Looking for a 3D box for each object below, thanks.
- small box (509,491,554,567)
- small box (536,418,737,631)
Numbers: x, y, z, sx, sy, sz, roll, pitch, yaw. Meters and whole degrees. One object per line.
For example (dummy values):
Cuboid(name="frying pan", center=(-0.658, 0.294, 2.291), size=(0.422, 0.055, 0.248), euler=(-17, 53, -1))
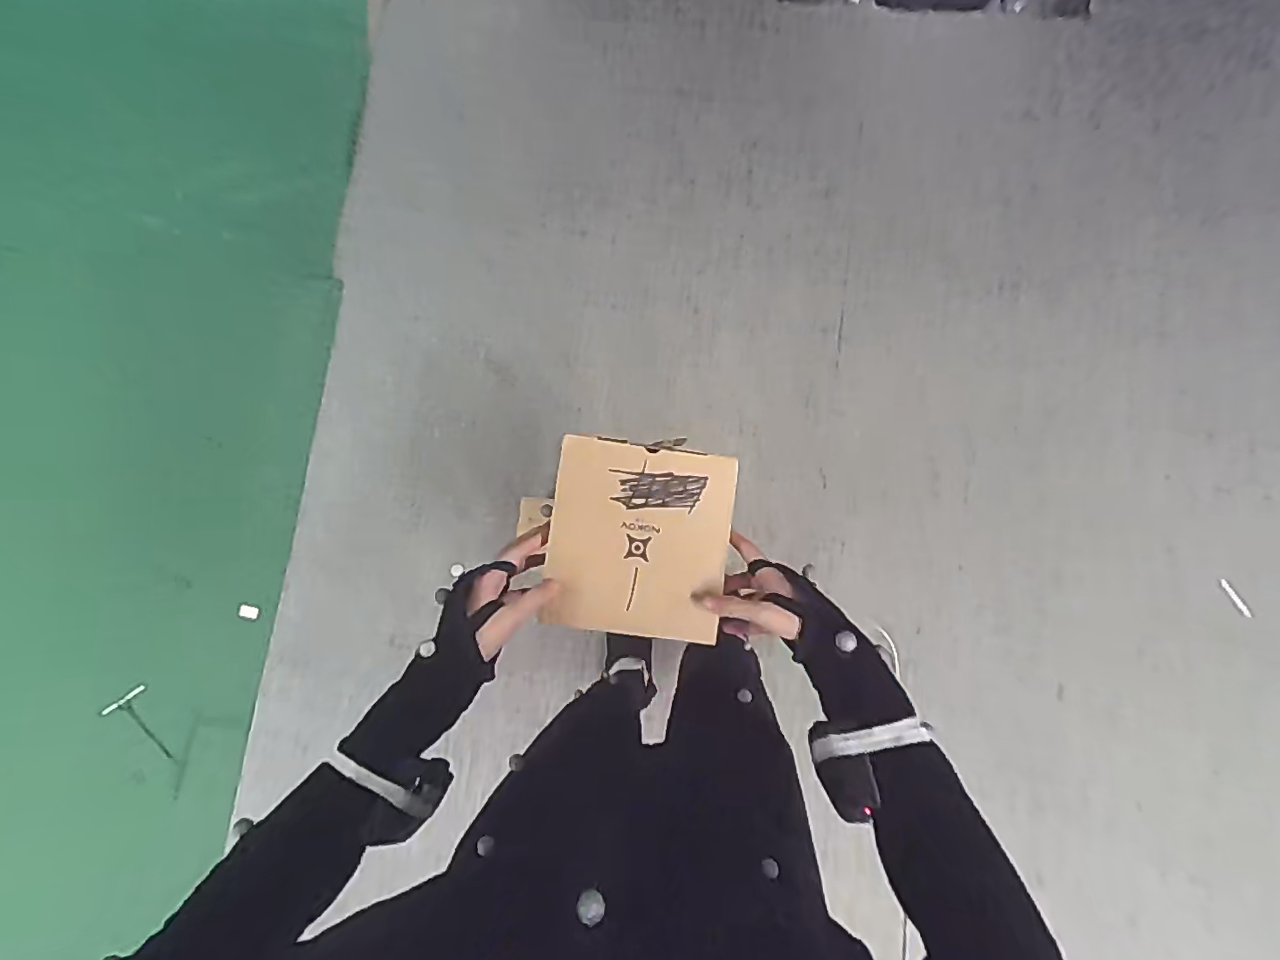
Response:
Cuboid(name="small box", center=(-0.190, 0.123, 1.281), size=(0.179, 0.176, 0.168), euler=(7, 84, 5))
Cuboid(name="small box", center=(-0.008, 0.044, 0.570), size=(0.168, 0.176, 0.179), euler=(8, 88, -4))
